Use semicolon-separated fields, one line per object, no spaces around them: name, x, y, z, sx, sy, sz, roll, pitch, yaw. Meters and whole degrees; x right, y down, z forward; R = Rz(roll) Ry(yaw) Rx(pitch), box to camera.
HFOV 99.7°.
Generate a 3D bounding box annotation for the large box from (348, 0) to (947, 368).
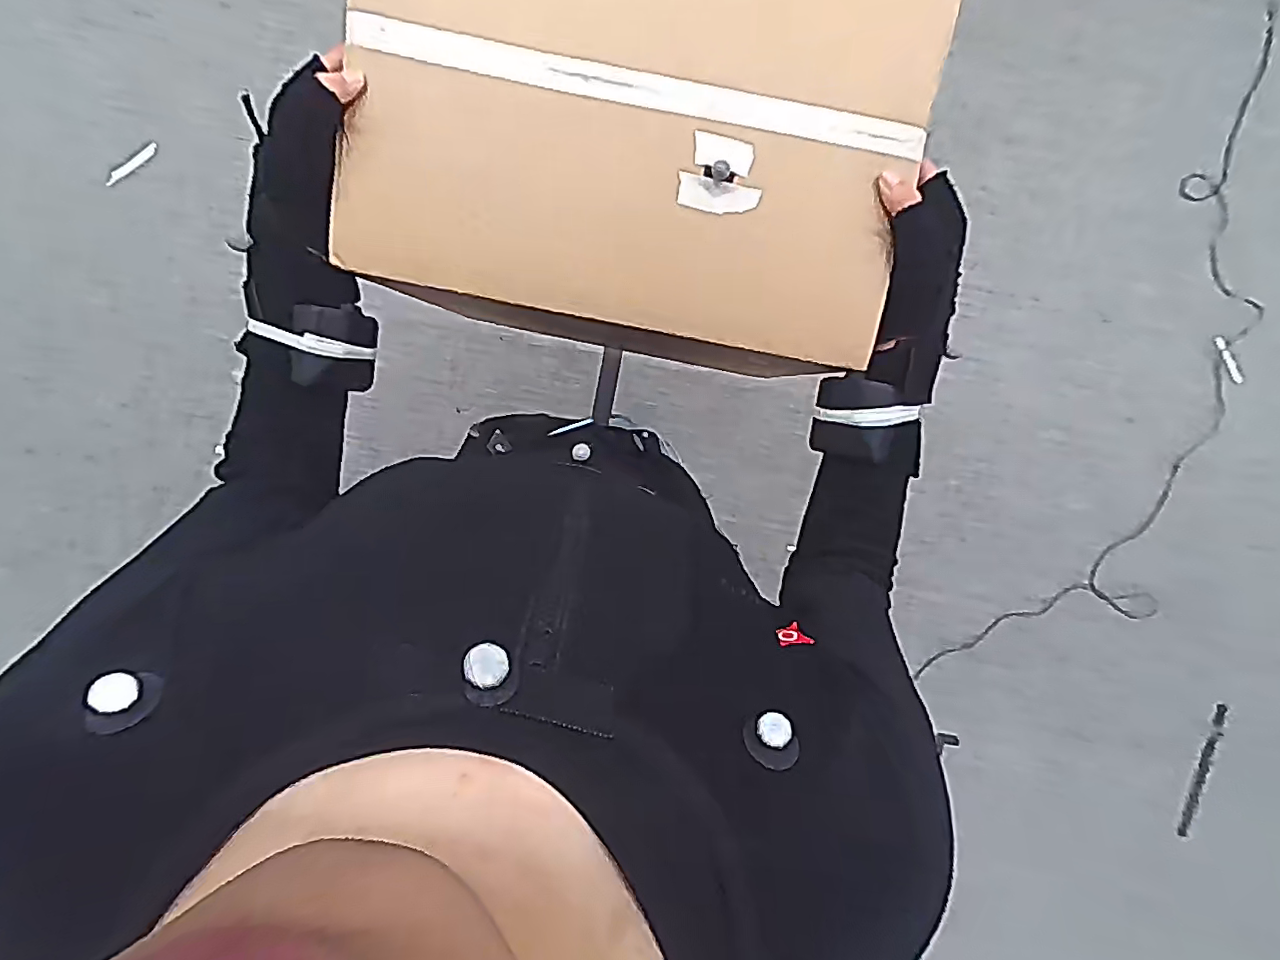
large box;-0.001;-0.300;0.531;0.408;0.320;0.320;11;101;-2
